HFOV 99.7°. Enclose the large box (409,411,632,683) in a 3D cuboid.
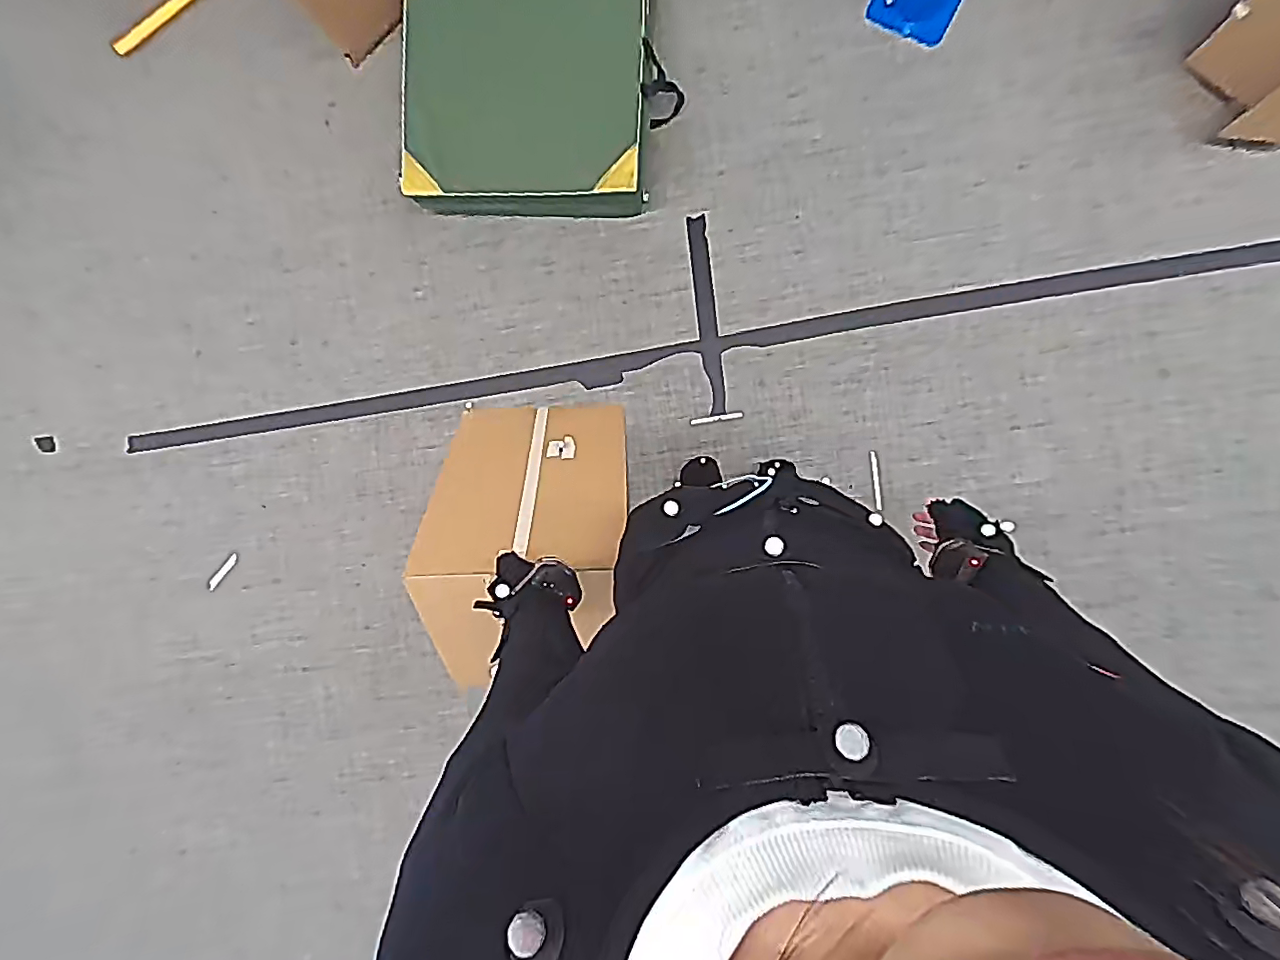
[{"bbox_3d":[-0.179,0.114,1.006,0.320,0.408,0.320,-1,131,-1],"label":"large box"}]
